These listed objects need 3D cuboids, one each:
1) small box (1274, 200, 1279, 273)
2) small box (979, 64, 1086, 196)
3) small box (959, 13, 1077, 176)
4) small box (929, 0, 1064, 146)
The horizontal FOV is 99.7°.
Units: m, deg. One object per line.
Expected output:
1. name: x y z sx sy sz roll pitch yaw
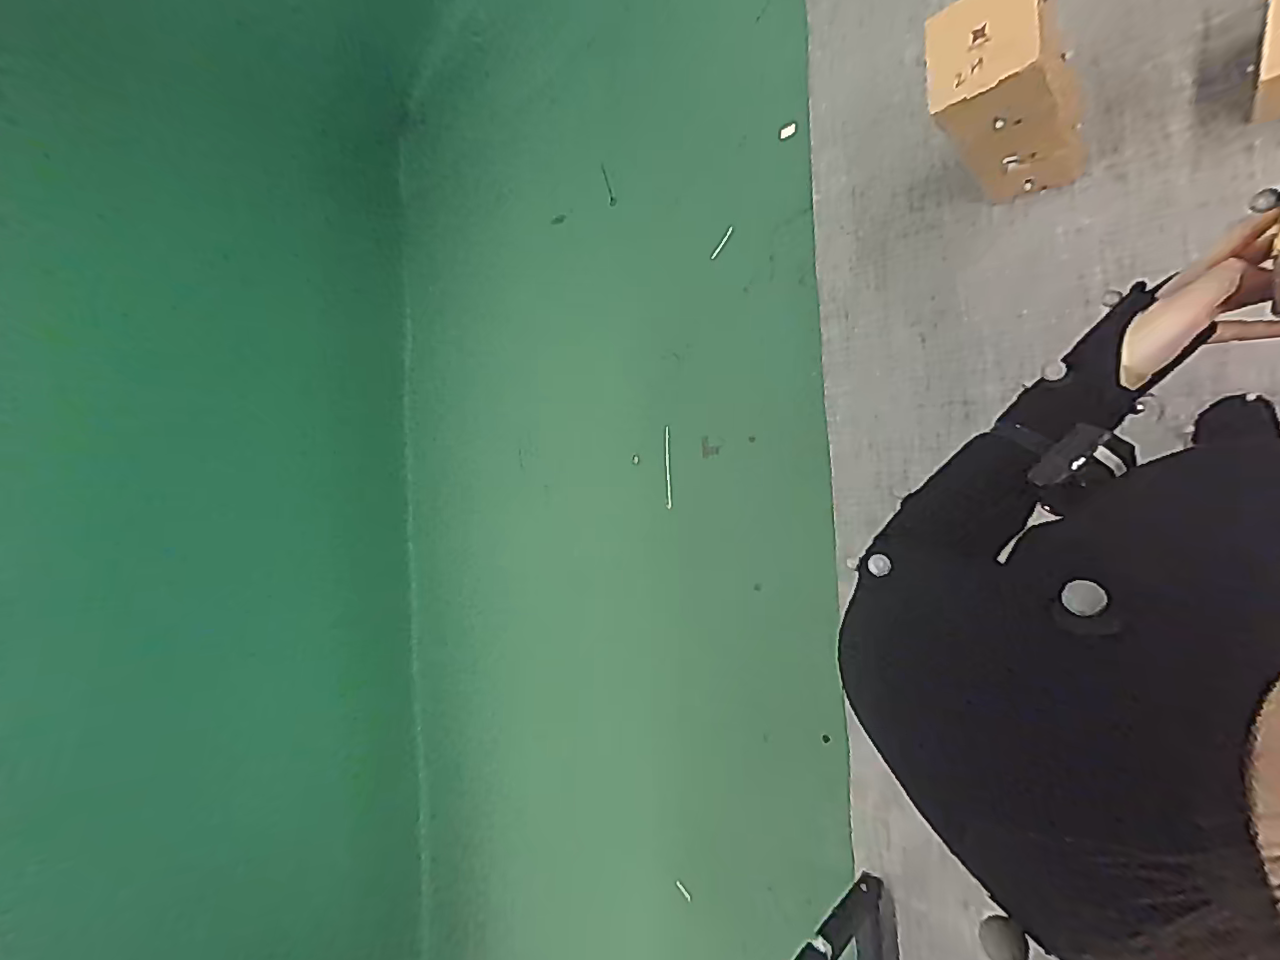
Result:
1. small box: 0.446 -0.199 0.260 0.168 0.176 0.179 12 101 49
2. small box: 0.861 -0.750 1.185 0.168 0.176 0.179 1 93 46
3. small box: 0.746 -0.746 1.070 0.168 0.176 0.179 -3 90 47
4. small box: 0.628 -0.740 0.954 0.168 0.176 0.179 -3 89 48
